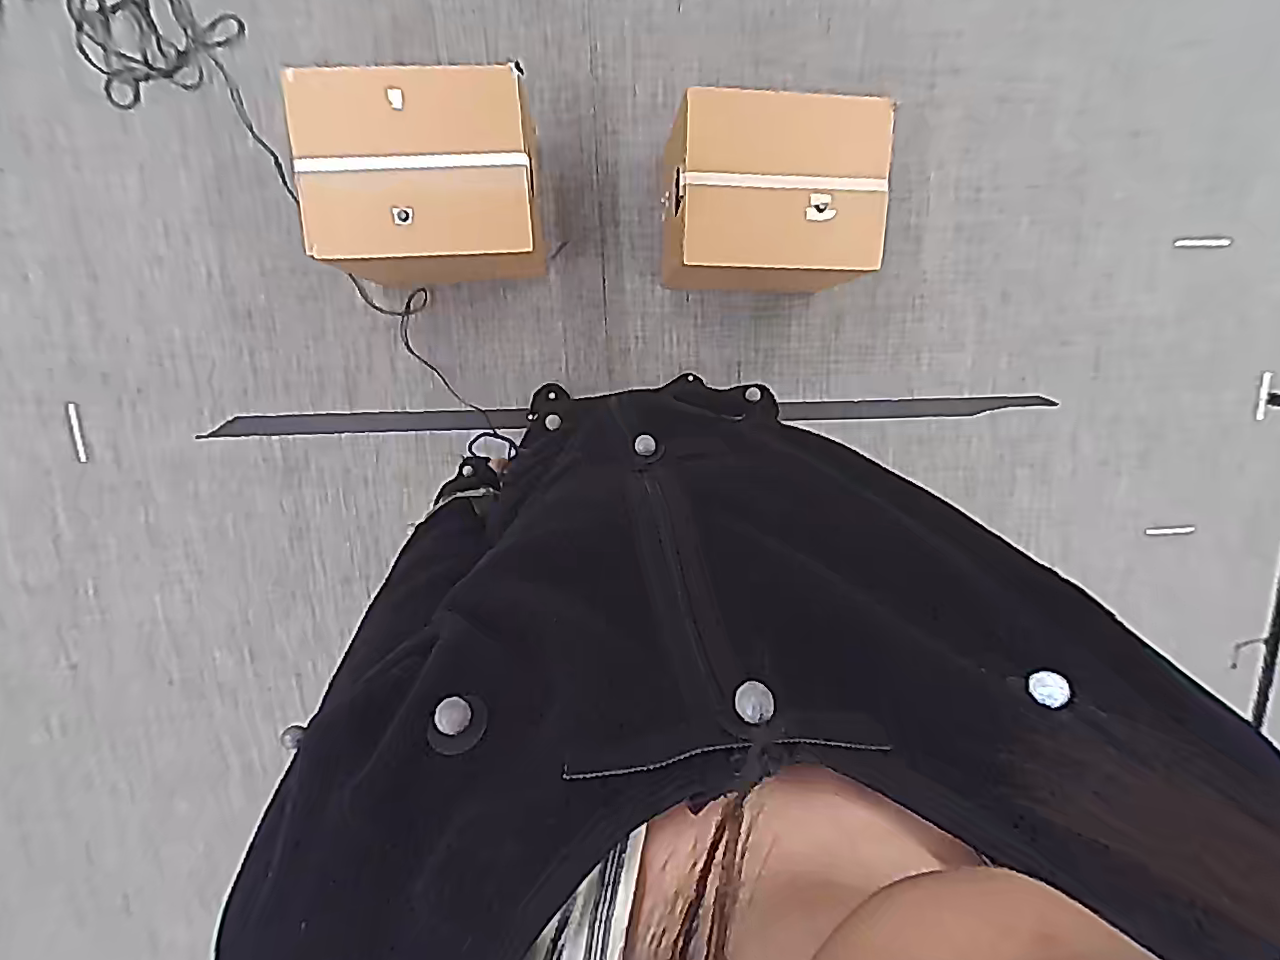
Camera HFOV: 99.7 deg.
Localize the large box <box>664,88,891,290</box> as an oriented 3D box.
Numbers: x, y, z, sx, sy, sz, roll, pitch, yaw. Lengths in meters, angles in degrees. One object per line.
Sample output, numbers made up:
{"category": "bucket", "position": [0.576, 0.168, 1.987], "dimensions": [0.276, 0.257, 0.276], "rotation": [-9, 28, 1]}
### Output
{"category": "large box", "position": [0.270, -0.605, 1.192], "dimensions": [0.408, 0.320, 0.320], "rotation": [0, 101, -6]}
